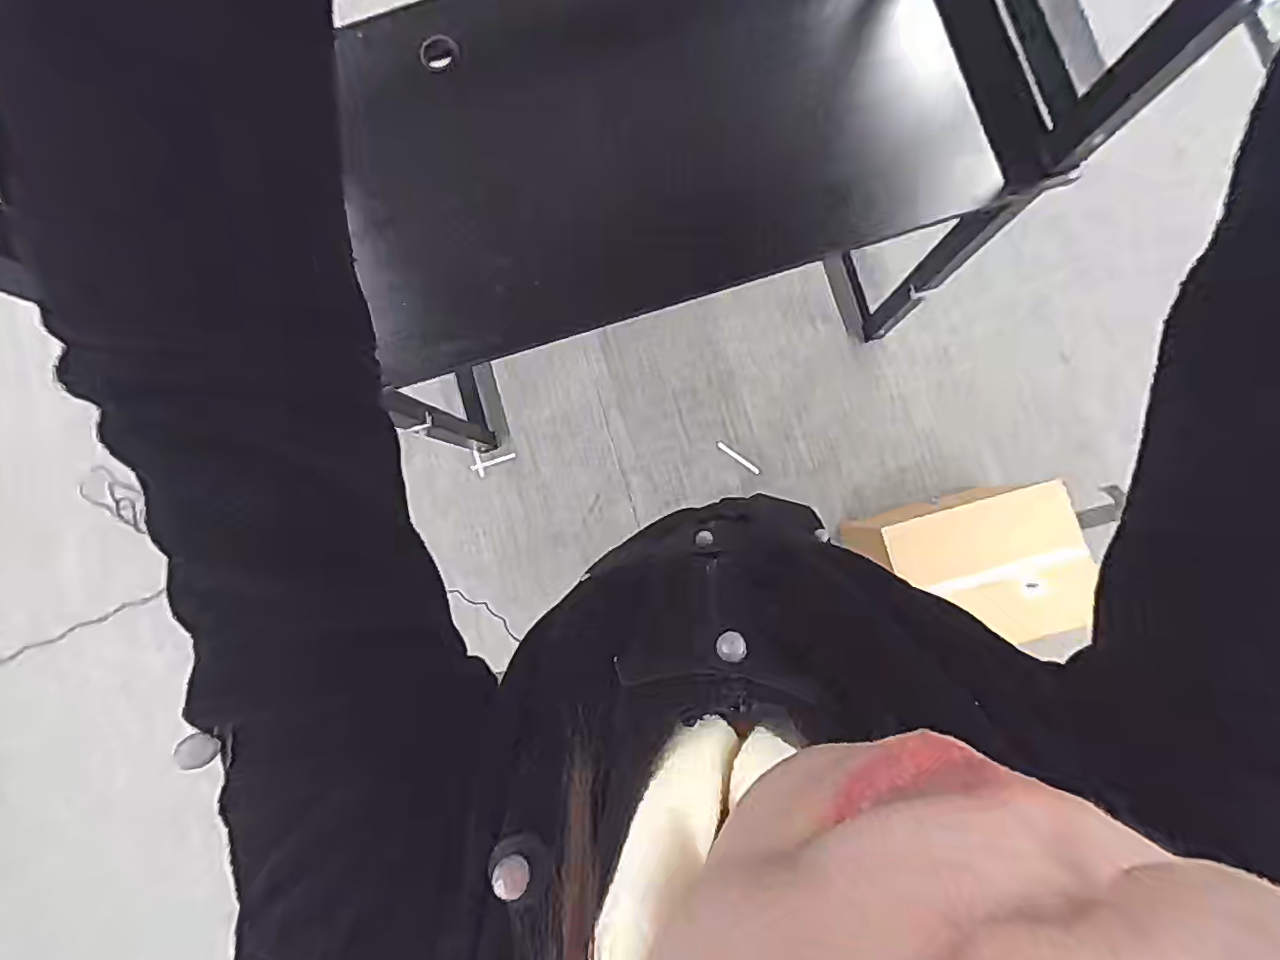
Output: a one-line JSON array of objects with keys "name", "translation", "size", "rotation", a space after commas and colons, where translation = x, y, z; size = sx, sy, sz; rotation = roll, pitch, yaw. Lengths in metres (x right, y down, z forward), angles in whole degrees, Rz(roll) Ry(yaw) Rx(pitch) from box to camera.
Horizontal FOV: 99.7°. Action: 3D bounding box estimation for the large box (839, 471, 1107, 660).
[{"name": "large box", "translation": [0.762, 0.193, 1.305], "size": [0.408, 0.320, 0.320], "rotation": [-17, 86, 2]}]
